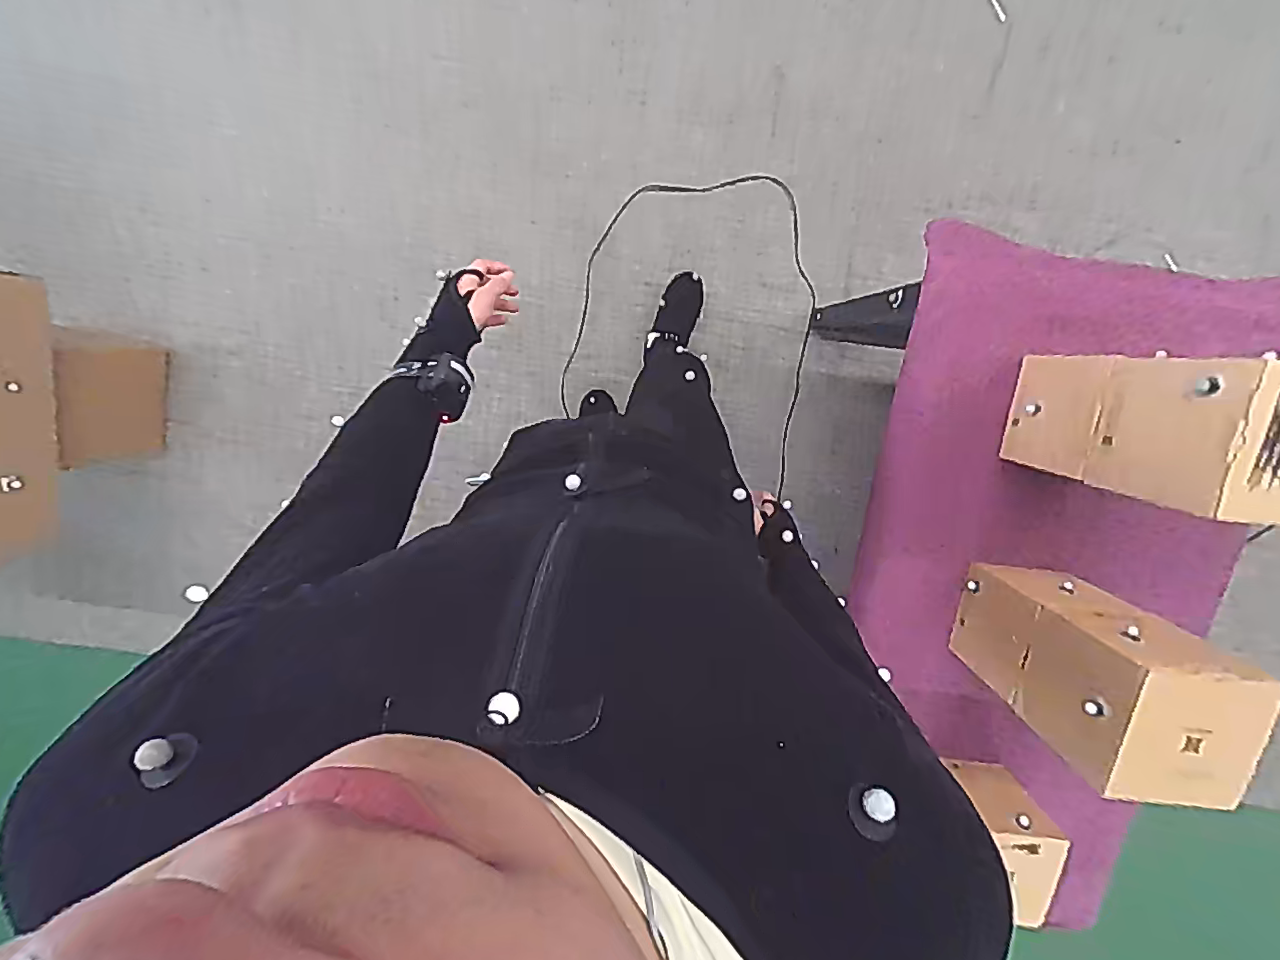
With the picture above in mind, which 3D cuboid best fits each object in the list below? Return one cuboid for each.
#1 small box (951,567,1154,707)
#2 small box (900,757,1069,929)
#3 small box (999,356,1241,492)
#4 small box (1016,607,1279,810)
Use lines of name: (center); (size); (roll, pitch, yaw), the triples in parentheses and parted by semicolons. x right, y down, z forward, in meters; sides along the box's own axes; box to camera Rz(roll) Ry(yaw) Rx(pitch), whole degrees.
small box: (0.637, 0.248, 0.861); (0.179, 0.176, 0.168); (6, 103, -3)
small box: (0.584, 0.626, 0.945); (0.168, 0.176, 0.179); (8, 102, -3)
small box: (0.675, -0.088, 0.784); (0.179, 0.176, 0.168); (6, 102, -2)
small box: (0.635, 0.283, 0.702); (0.168, 0.176, 0.179); (7, 103, -1)
